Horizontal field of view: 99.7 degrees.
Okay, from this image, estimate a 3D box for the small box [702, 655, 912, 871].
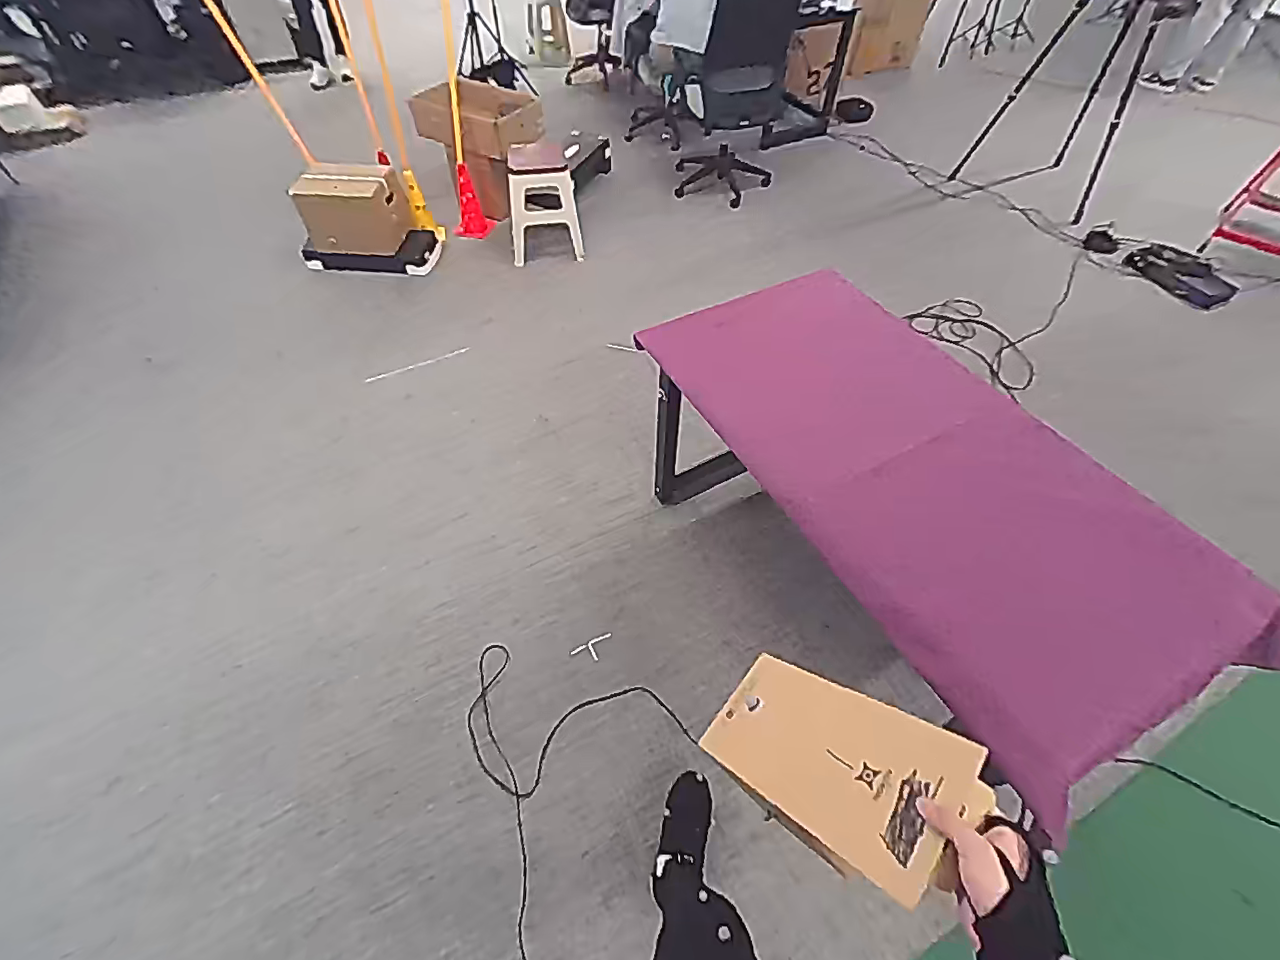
[{"bbox_3d":[0.221,0.367,0.737,0.168,0.176,0.179,-47,108,-20],"label":"small box"}]
